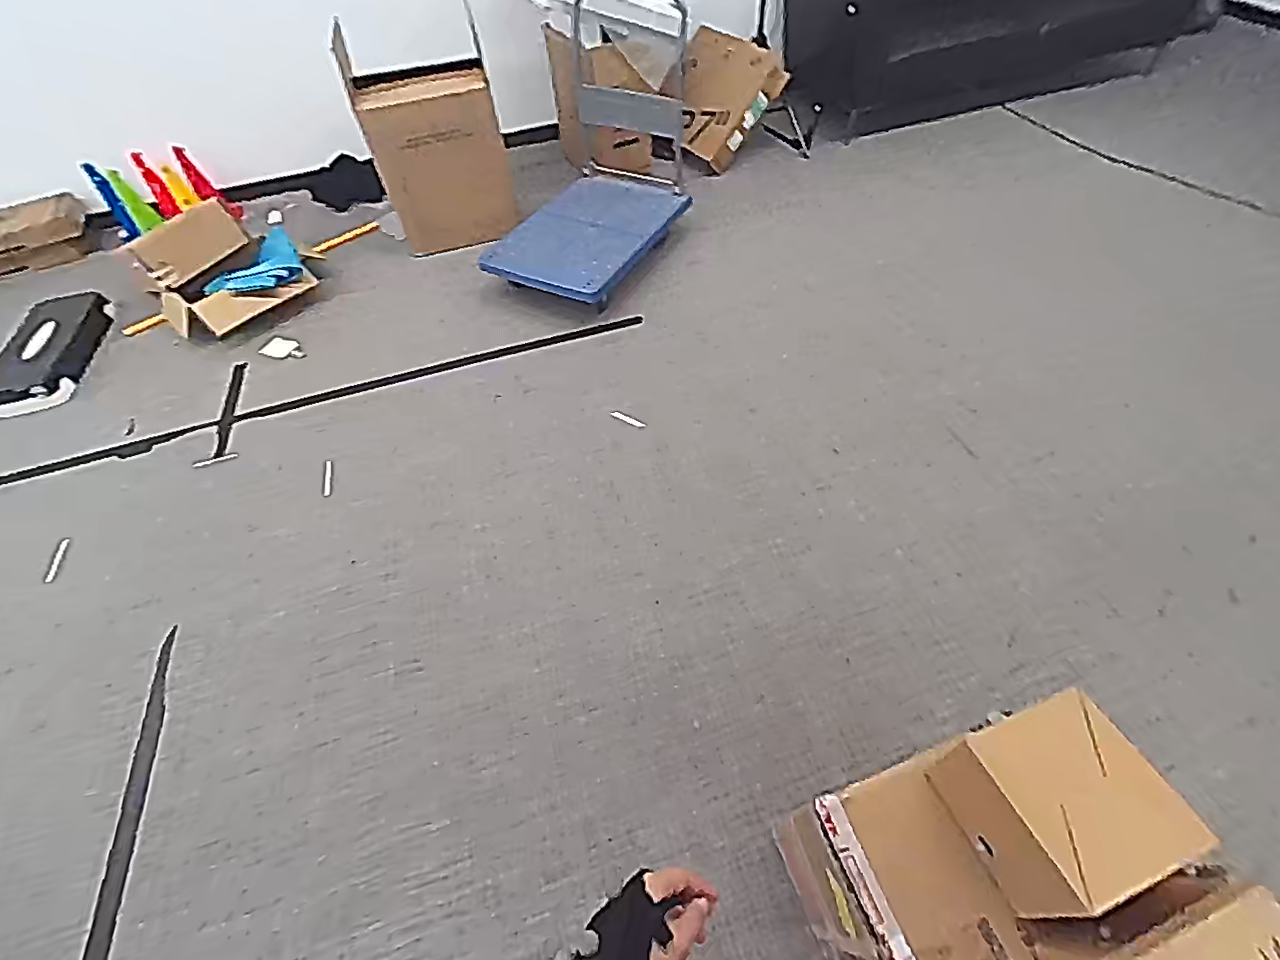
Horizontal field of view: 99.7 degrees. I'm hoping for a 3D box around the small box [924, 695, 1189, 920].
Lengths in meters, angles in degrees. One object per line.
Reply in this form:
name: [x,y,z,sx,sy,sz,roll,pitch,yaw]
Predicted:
small box: [0.491,0.394,0.655,0.168,0.176,0.179,-19,51,-9]
